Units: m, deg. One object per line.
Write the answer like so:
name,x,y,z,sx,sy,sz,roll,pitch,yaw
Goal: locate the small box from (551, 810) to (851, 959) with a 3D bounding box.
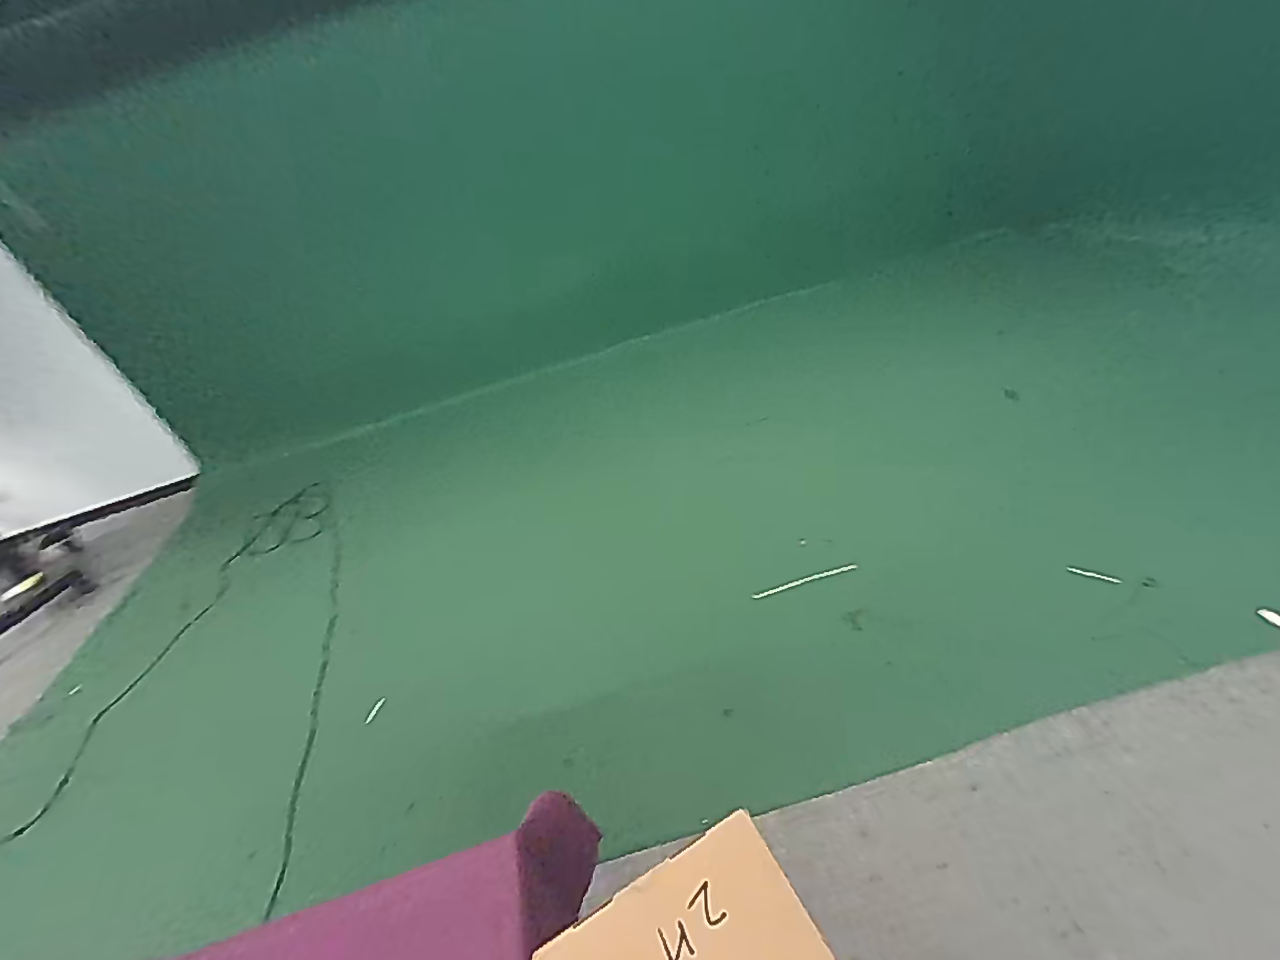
small box,0.068,0.364,0.348,0.168,0.176,0.179,-27,41,-10
